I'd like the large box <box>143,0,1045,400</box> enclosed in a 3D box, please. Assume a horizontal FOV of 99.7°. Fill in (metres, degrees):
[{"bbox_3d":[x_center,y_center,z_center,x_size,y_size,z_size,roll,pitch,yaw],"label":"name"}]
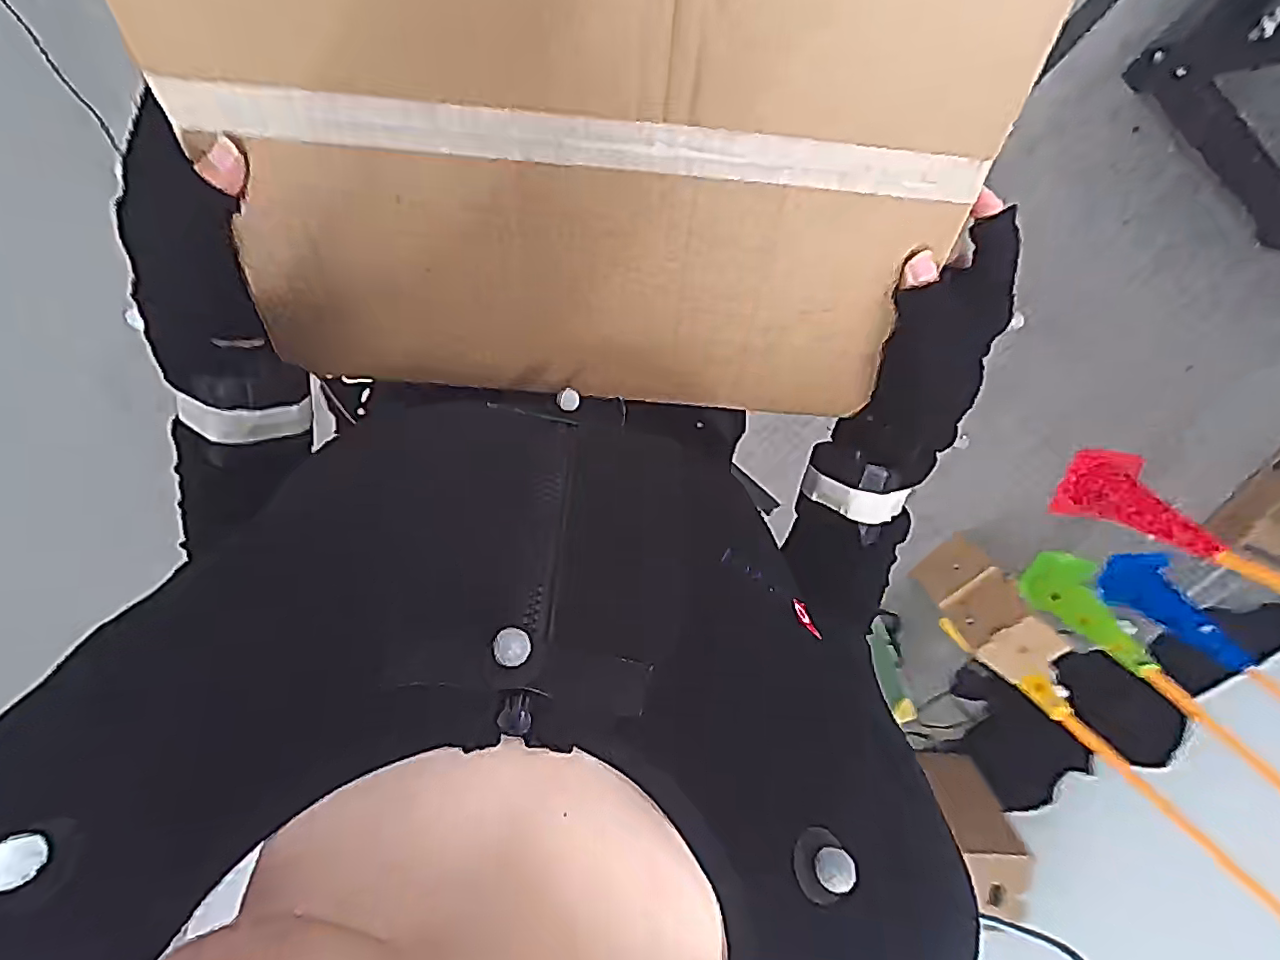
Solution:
[{"bbox_3d":[-0.026,-0.280,0.380,0.408,0.320,0.320,4,137,-3],"label":"large box"}]
